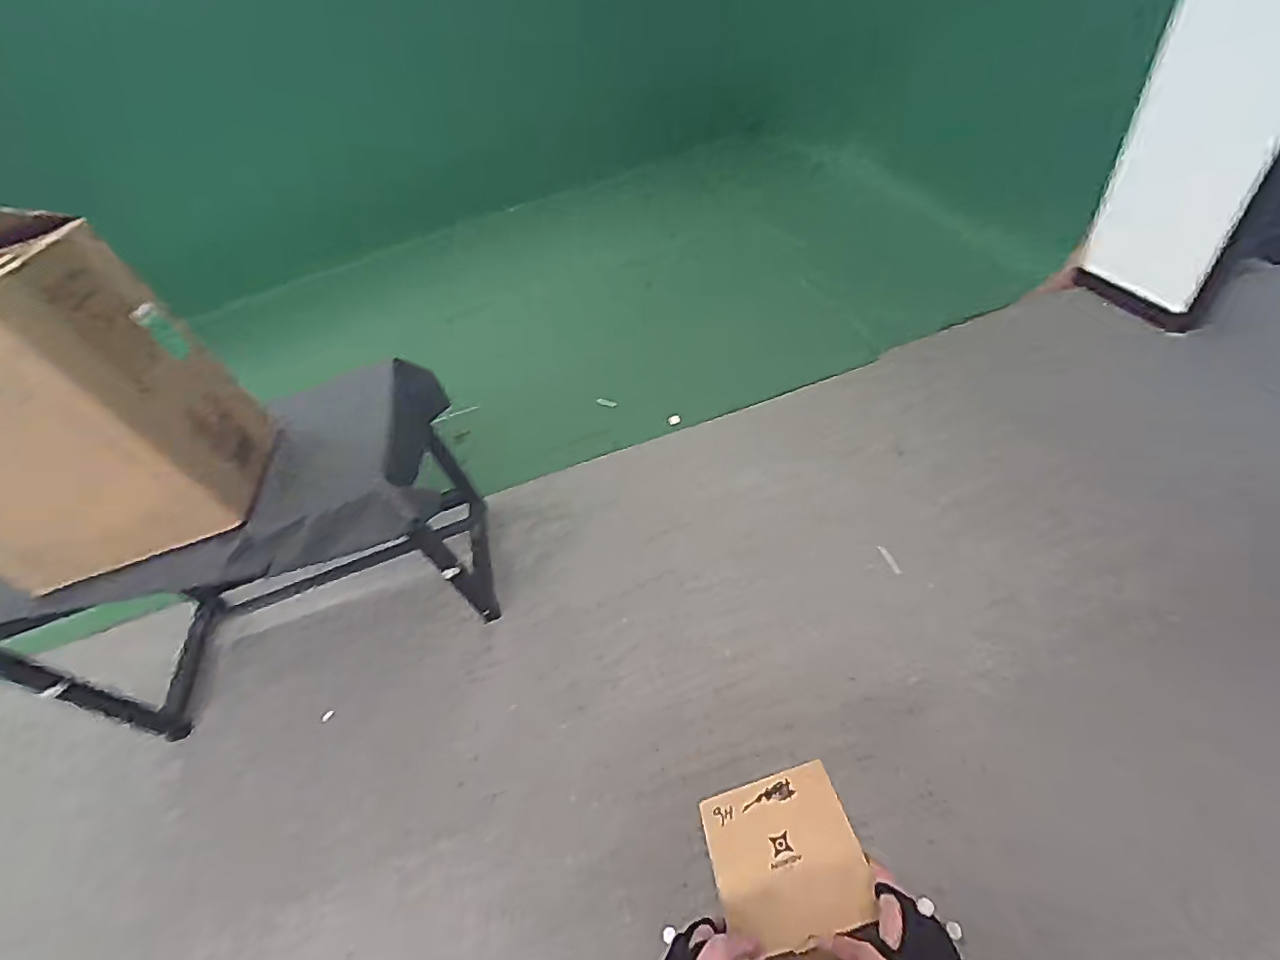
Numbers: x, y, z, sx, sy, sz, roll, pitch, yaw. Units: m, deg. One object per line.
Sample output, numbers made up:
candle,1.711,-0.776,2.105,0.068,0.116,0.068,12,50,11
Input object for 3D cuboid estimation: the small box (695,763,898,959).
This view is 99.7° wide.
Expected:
small box,0.186,0.492,0.653,0.168,0.176,0.179,-23,28,4
